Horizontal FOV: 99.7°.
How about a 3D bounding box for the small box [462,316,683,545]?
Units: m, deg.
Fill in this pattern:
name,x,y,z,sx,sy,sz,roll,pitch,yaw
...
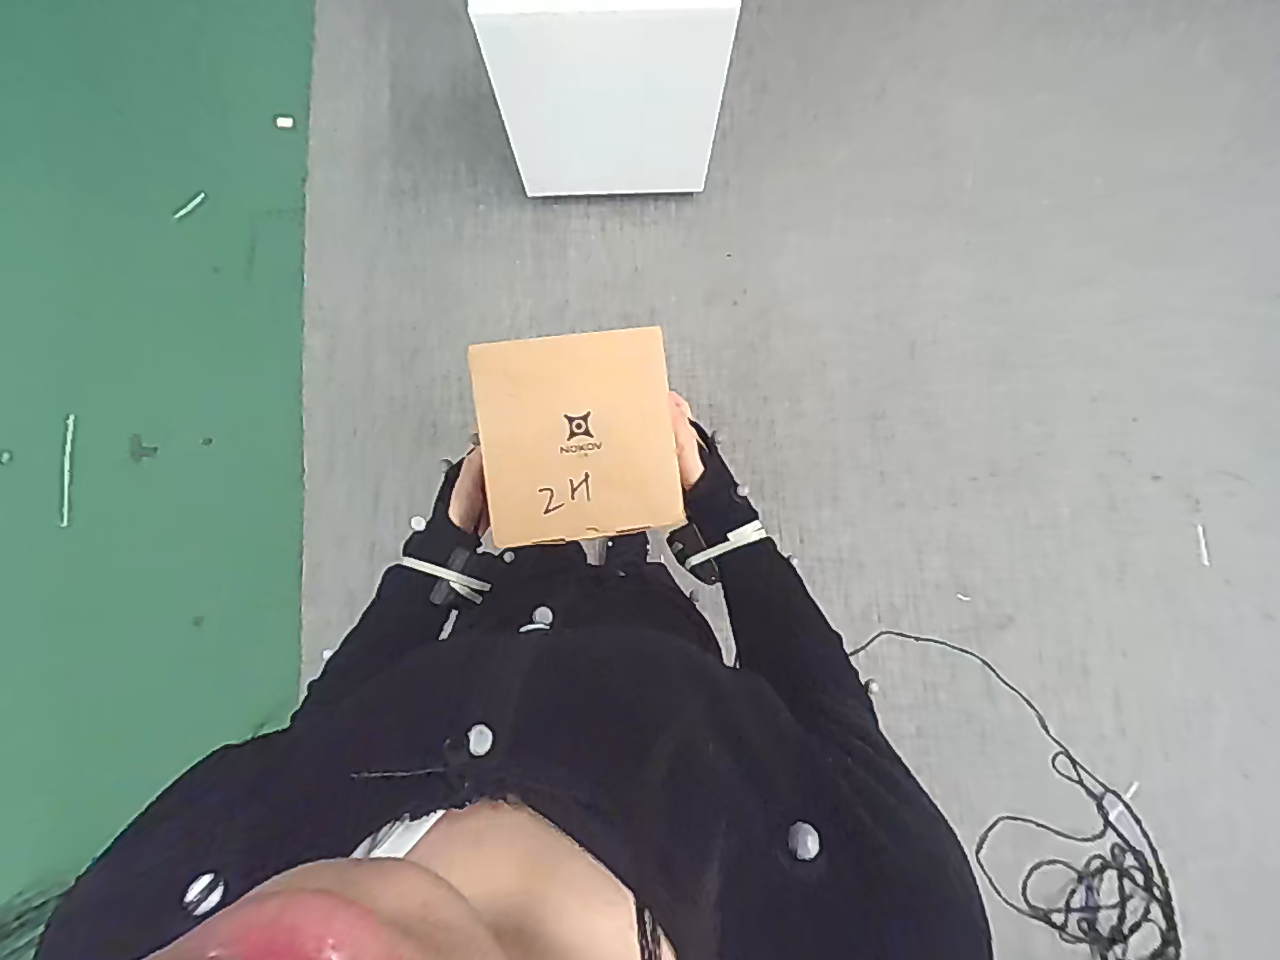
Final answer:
name,x,y,z,sx,sy,sz,roll,pitch,yaw
small box,-0.062,-0.041,0.521,0.168,0.176,0.179,-7,91,-5
